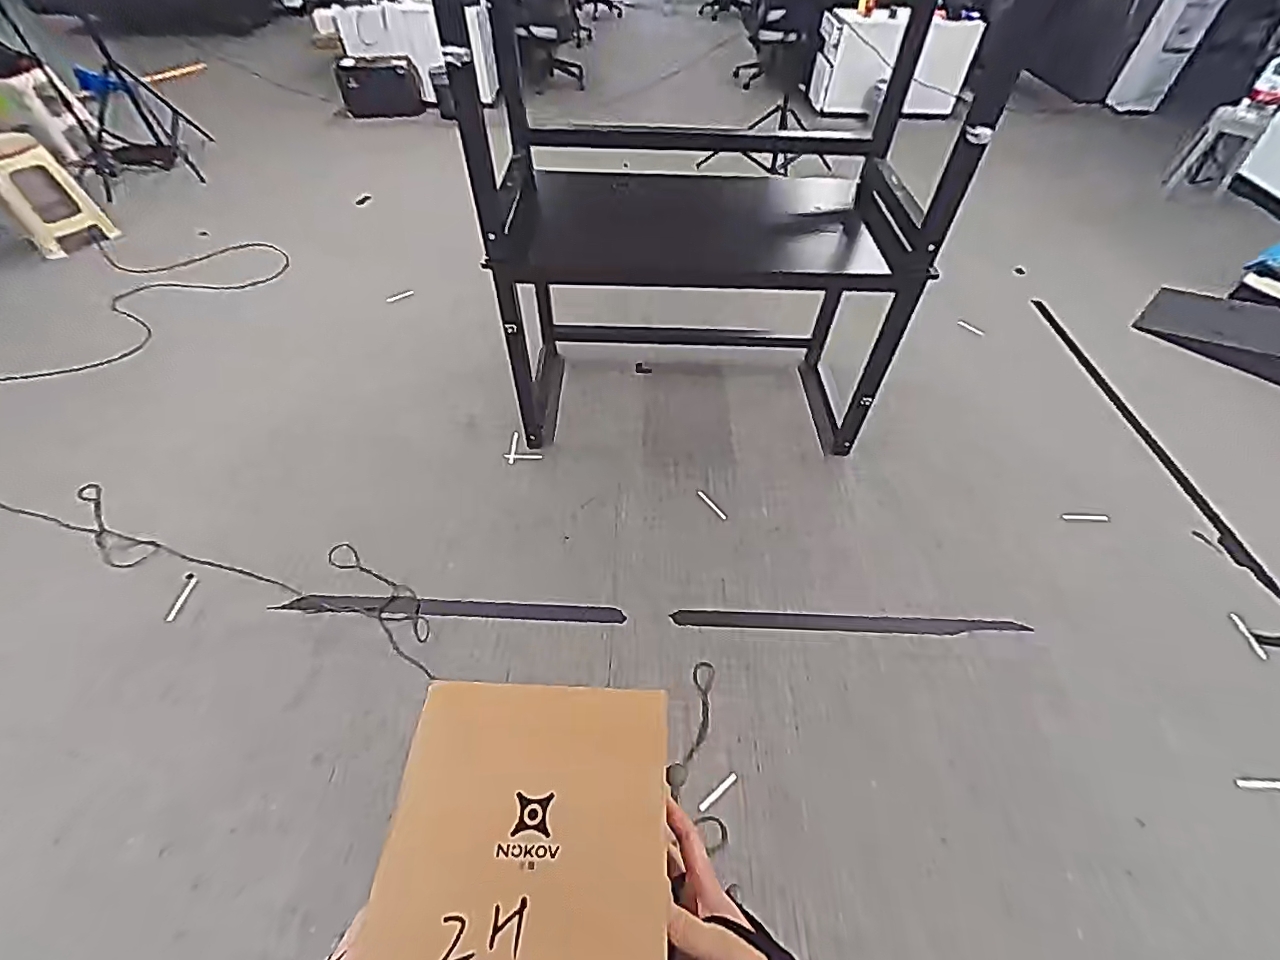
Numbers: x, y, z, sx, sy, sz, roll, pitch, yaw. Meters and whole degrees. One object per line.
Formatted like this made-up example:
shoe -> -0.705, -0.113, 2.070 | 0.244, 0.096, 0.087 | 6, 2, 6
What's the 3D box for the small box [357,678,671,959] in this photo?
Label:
small box -> -0.067, 0.261, 0.382 | 0.168, 0.176, 0.179 | 3, 49, -1
